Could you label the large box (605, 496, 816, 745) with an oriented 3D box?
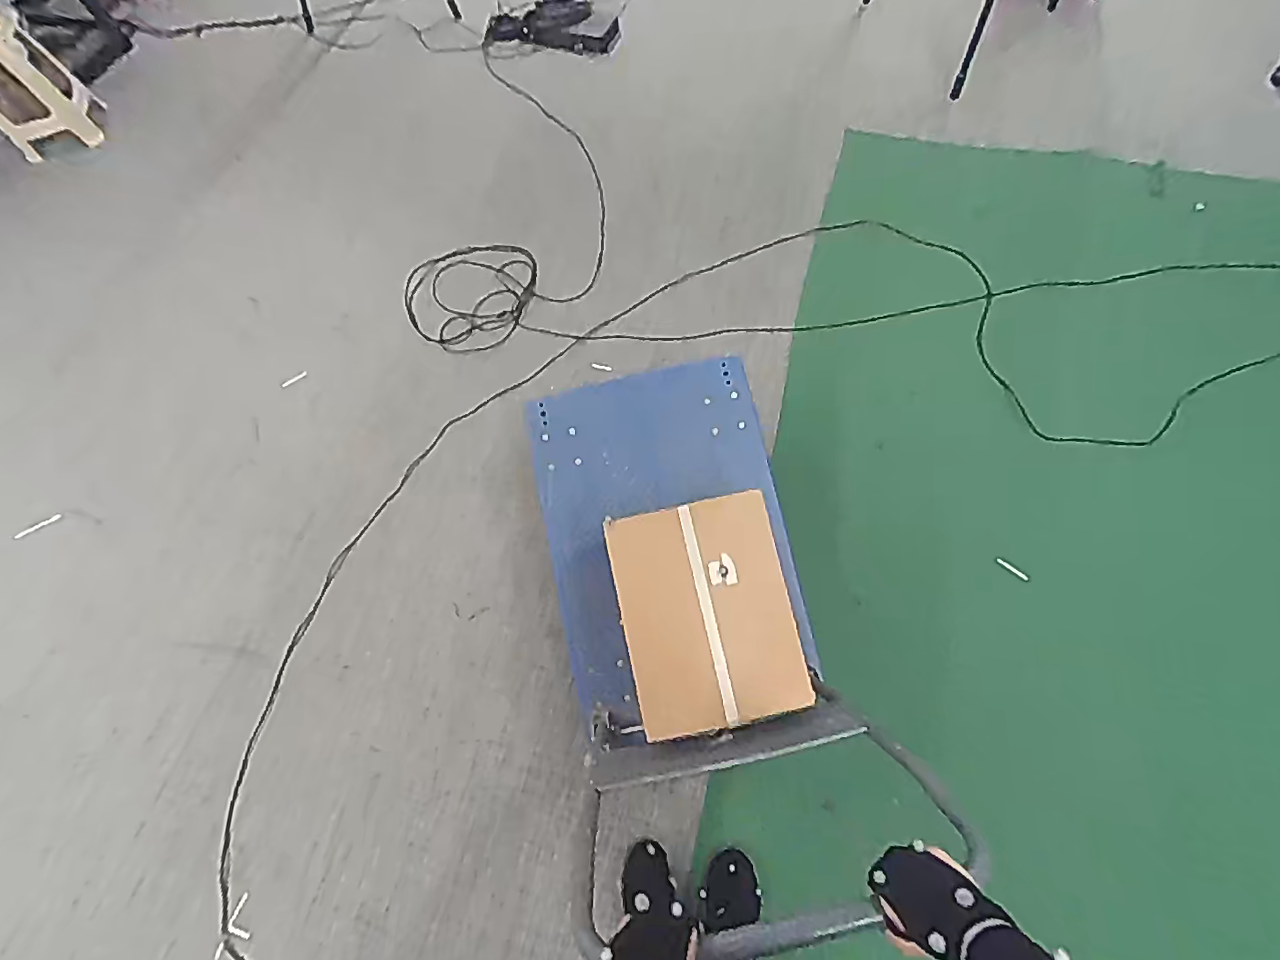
[{"bbox_3d":[0.129,0.282,1.151,0.320,0.320,0.408,-13,79,-2],"label":"large box"}]
